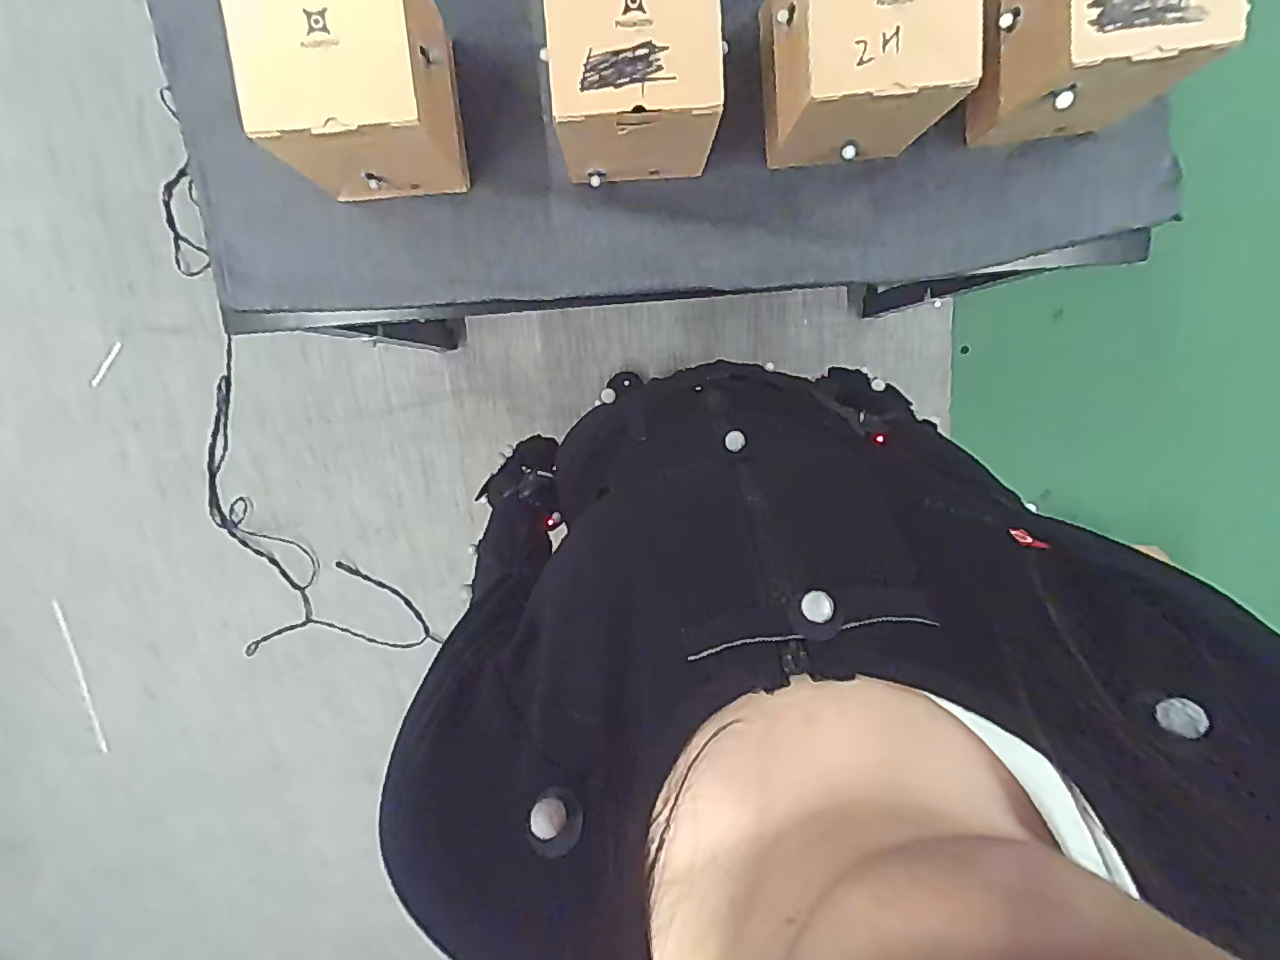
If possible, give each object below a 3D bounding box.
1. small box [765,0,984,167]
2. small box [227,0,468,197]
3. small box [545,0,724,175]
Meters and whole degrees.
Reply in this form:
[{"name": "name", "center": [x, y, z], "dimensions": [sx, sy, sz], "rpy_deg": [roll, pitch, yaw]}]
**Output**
[{"name": "small box", "center": [0.235, -0.468, 0.579], "dimensions": [0.168, 0.176, 0.179], "rpy_deg": [-5, 100, 1]}, {"name": "small box", "center": [-0.294, -0.427, 0.574], "dimensions": [0.168, 0.176, 0.179], "rpy_deg": [-5, 99, -1]}, {"name": "small box", "center": [-0.006, -0.446, 0.578], "dimensions": [0.168, 0.176, 0.179], "rpy_deg": [-4, 99, -1]}]
